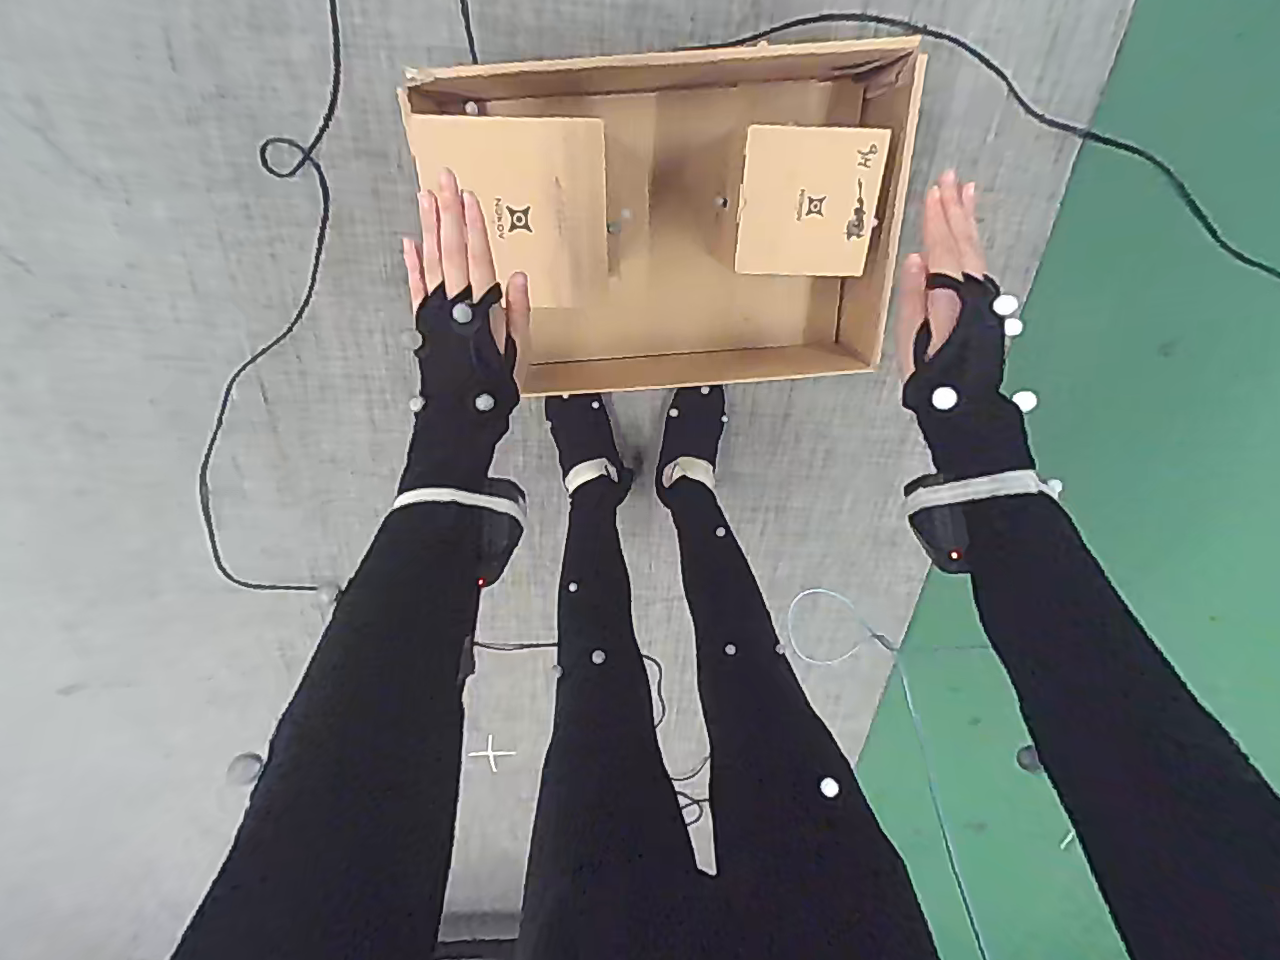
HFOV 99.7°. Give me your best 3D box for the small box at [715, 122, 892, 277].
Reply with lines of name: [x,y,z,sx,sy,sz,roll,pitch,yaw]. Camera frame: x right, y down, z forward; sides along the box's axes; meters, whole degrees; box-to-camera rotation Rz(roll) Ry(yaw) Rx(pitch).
small box: [0.205,-0.377,0.740,0.179,0.176,0.168,1,118,-3]

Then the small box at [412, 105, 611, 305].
small box: [-0.120,-0.291,0.582,0.179,0.176,0.168,0,119,-4]
